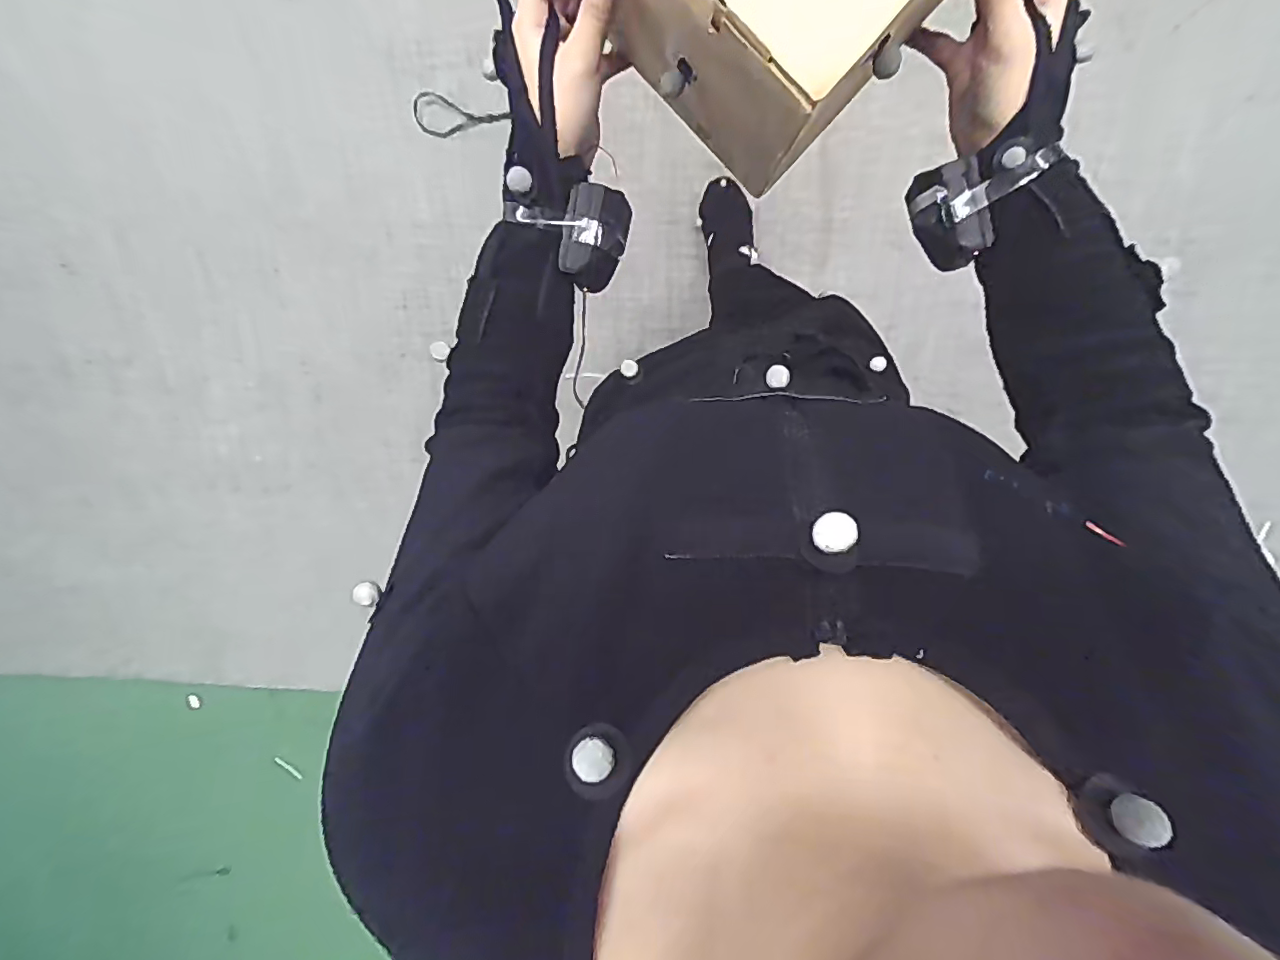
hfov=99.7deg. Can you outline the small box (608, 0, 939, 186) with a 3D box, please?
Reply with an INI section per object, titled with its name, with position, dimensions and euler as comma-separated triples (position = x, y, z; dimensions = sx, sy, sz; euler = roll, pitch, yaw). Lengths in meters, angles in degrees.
[small box]
position = 0.086, -0.312, 0.312
dimensions = 0.168, 0.176, 0.179
euler = 43, 103, -7
